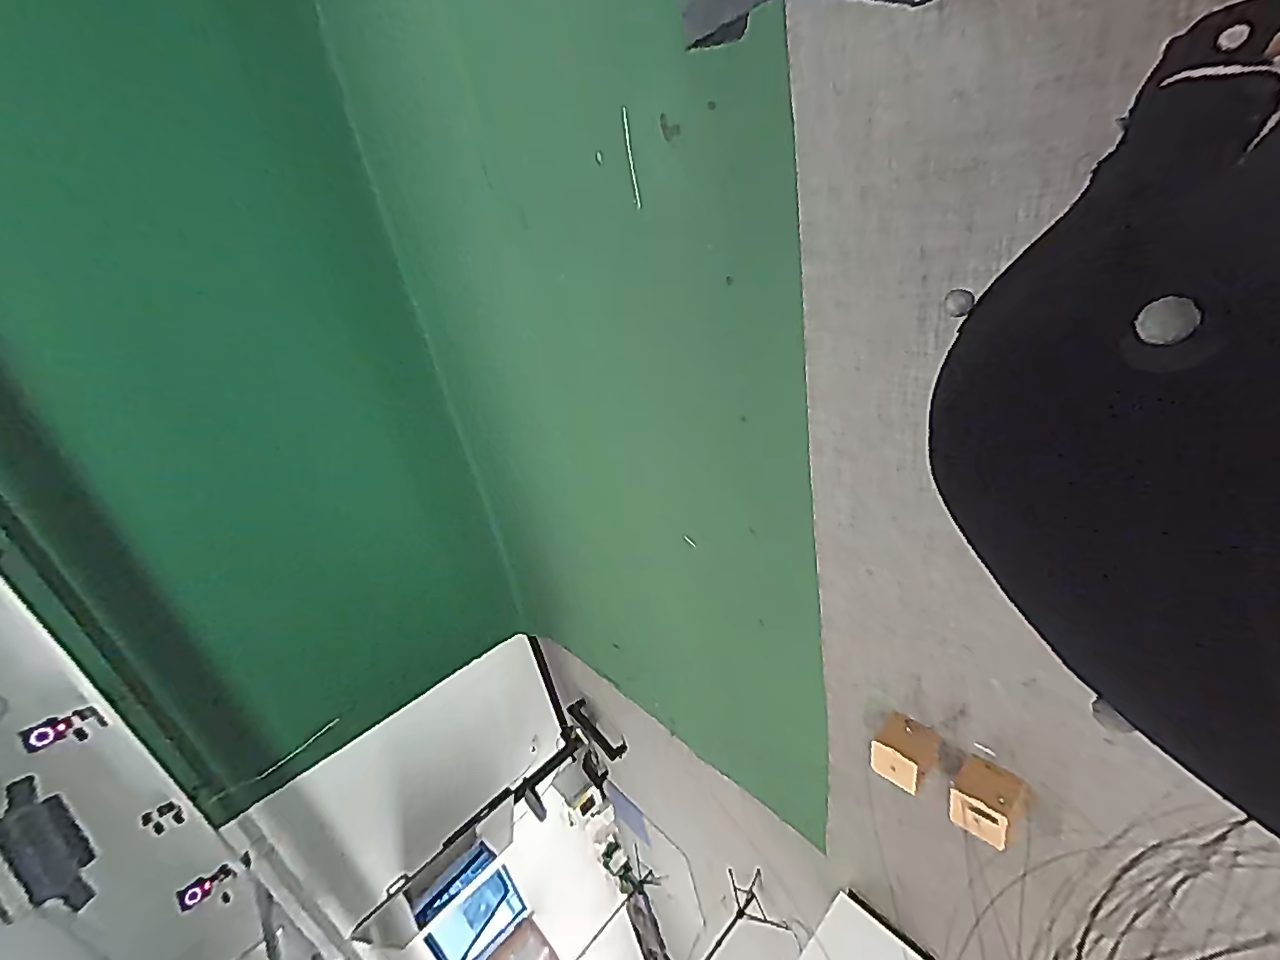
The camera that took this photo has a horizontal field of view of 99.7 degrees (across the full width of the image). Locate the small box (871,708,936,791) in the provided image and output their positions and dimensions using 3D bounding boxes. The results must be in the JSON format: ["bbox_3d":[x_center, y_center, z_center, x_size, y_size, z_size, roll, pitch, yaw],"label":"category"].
[{"bbox_3d":[0.984,1.002,2.020,0.168,0.176,0.179,19,128,46],"label":"small box"}]
